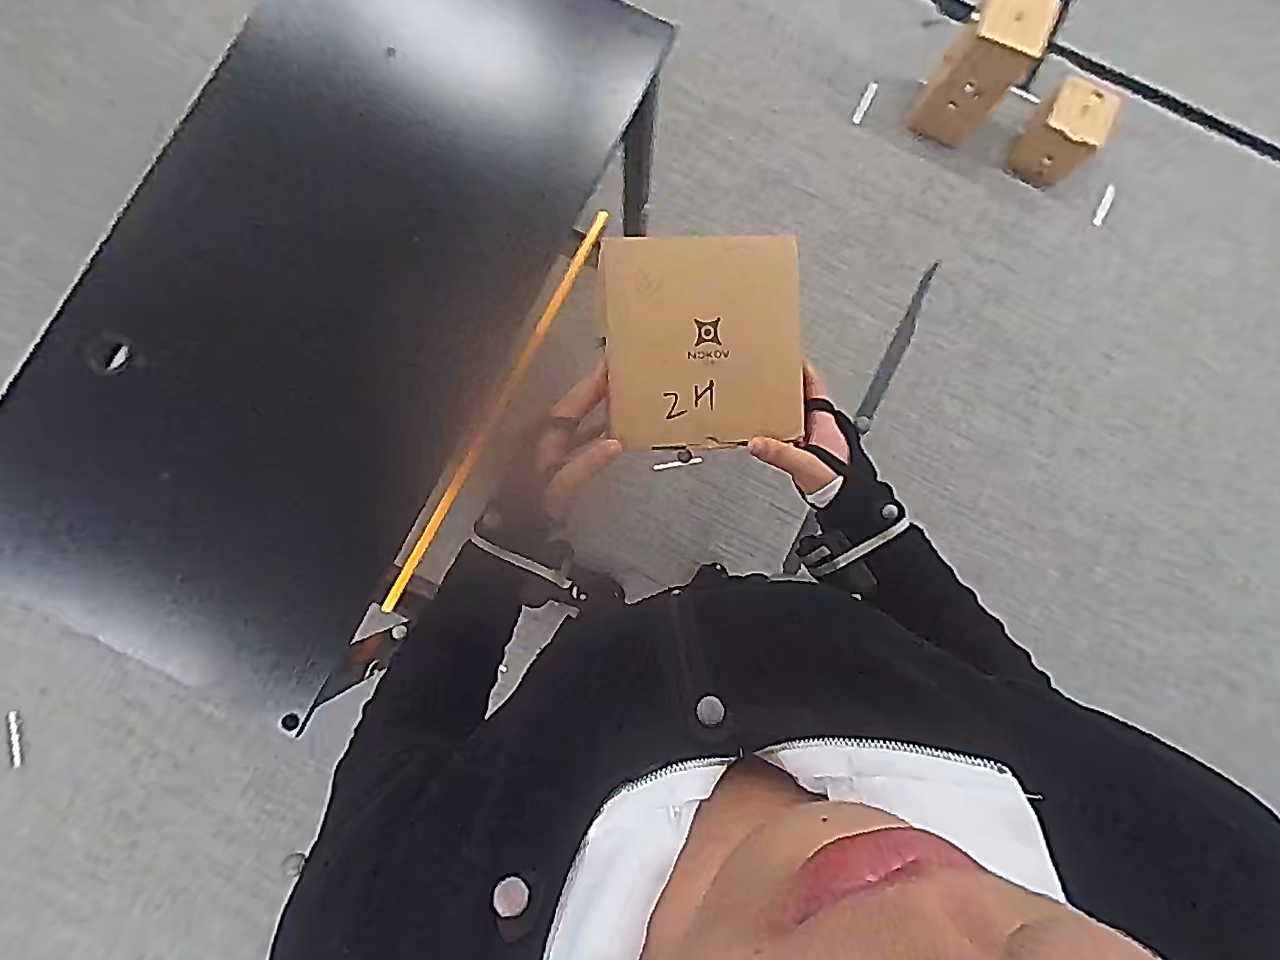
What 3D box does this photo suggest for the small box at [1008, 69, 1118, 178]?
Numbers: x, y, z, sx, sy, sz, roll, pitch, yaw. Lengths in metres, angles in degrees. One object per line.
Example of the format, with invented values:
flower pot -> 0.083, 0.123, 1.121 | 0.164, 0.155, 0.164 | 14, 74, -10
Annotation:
small box -> 1.227, -1.033, 1.584 | 0.168, 0.176, 0.179 | 26, 85, 1

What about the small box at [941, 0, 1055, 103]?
small box -> 0.932, -1.154, 1.422 | 0.168, 0.176, 0.179 | 22, 85, 2

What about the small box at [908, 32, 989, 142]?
small box -> 0.925, -1.141, 1.584 | 0.179, 0.176, 0.168 | 24, 84, 0

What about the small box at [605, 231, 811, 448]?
small box -> 0.054, -0.123, 0.530 | 0.168, 0.176, 0.179 | -3, 93, -6
